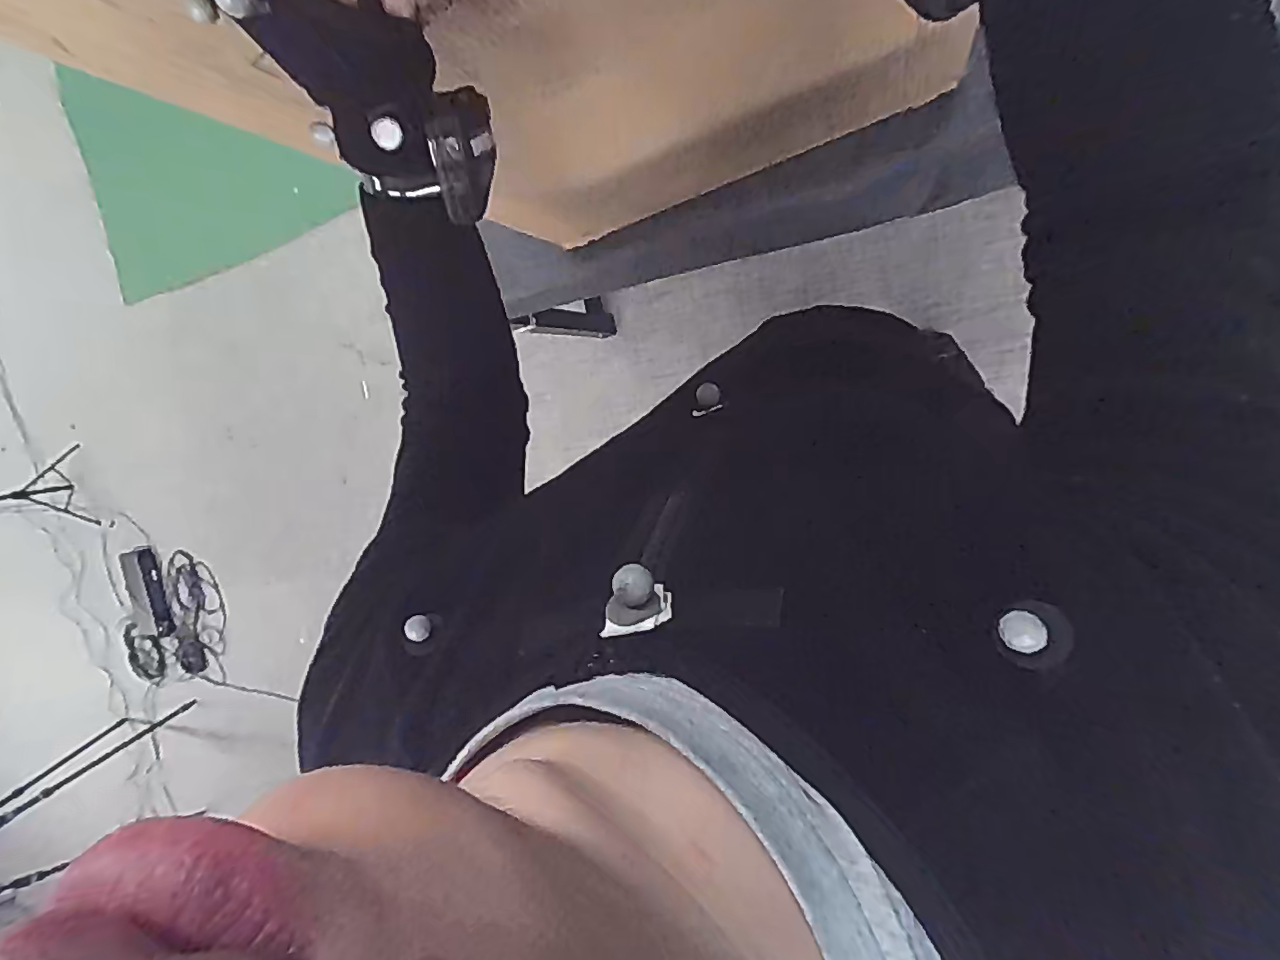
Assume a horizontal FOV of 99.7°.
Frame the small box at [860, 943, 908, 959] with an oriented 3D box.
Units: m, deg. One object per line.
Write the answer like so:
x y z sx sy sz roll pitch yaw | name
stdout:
0.748 1.532 1.593 0.168 0.176 0.179 36 113 13 | small box
